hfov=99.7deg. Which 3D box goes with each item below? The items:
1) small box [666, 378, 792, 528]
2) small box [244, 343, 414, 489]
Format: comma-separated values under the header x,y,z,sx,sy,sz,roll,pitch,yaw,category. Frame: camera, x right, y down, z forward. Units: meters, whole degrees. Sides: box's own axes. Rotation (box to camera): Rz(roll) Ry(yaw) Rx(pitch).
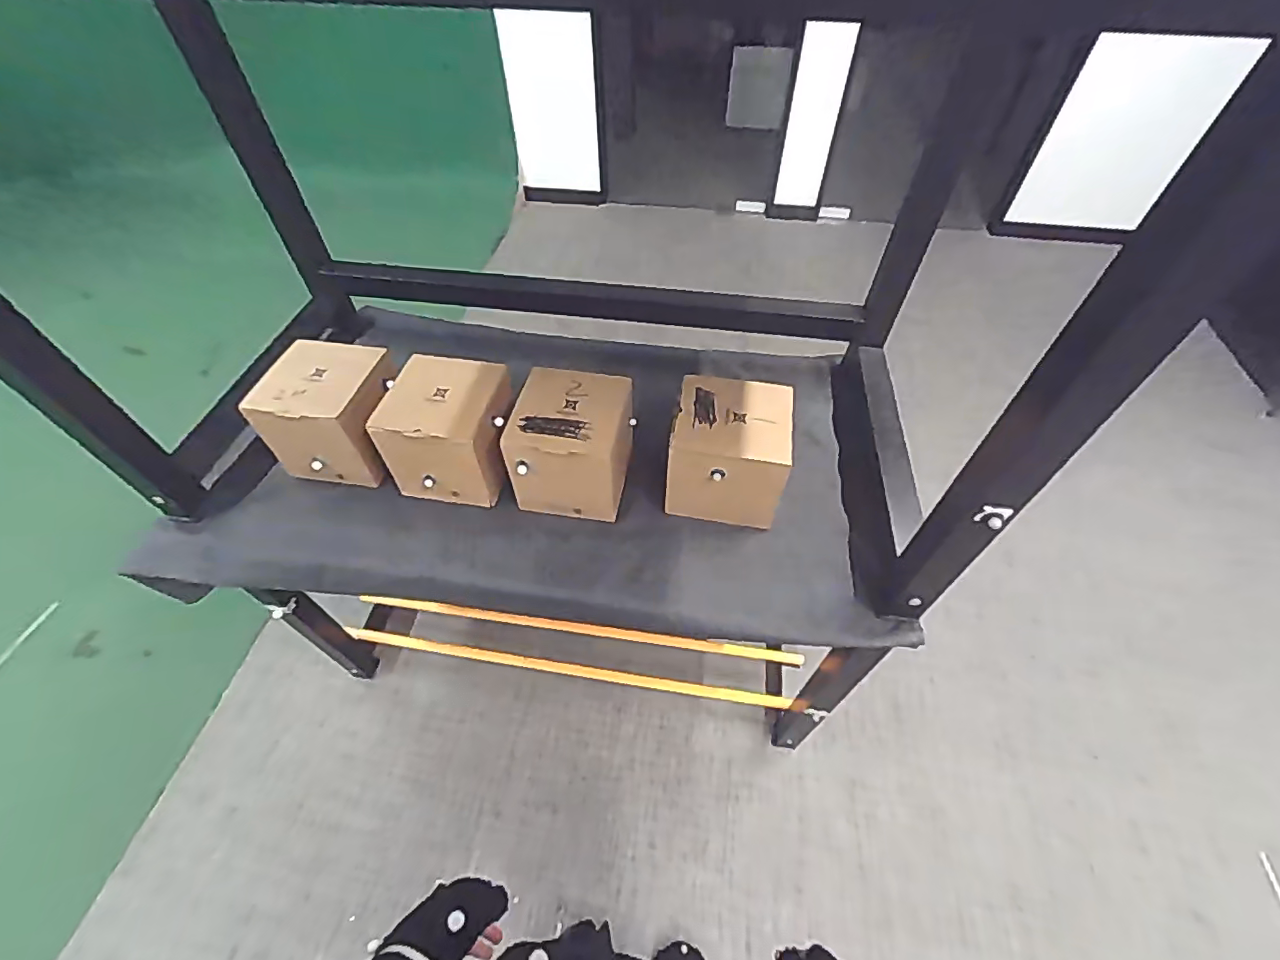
x,y,z,sx,sy,sz,roll,pitch,yaw,category
0.140,-0.041,0.880,0.179,0.176,0.168,9,52,6,small box
-0.516,-0.110,0.935,0.168,0.176,0.179,7,51,6,small box
